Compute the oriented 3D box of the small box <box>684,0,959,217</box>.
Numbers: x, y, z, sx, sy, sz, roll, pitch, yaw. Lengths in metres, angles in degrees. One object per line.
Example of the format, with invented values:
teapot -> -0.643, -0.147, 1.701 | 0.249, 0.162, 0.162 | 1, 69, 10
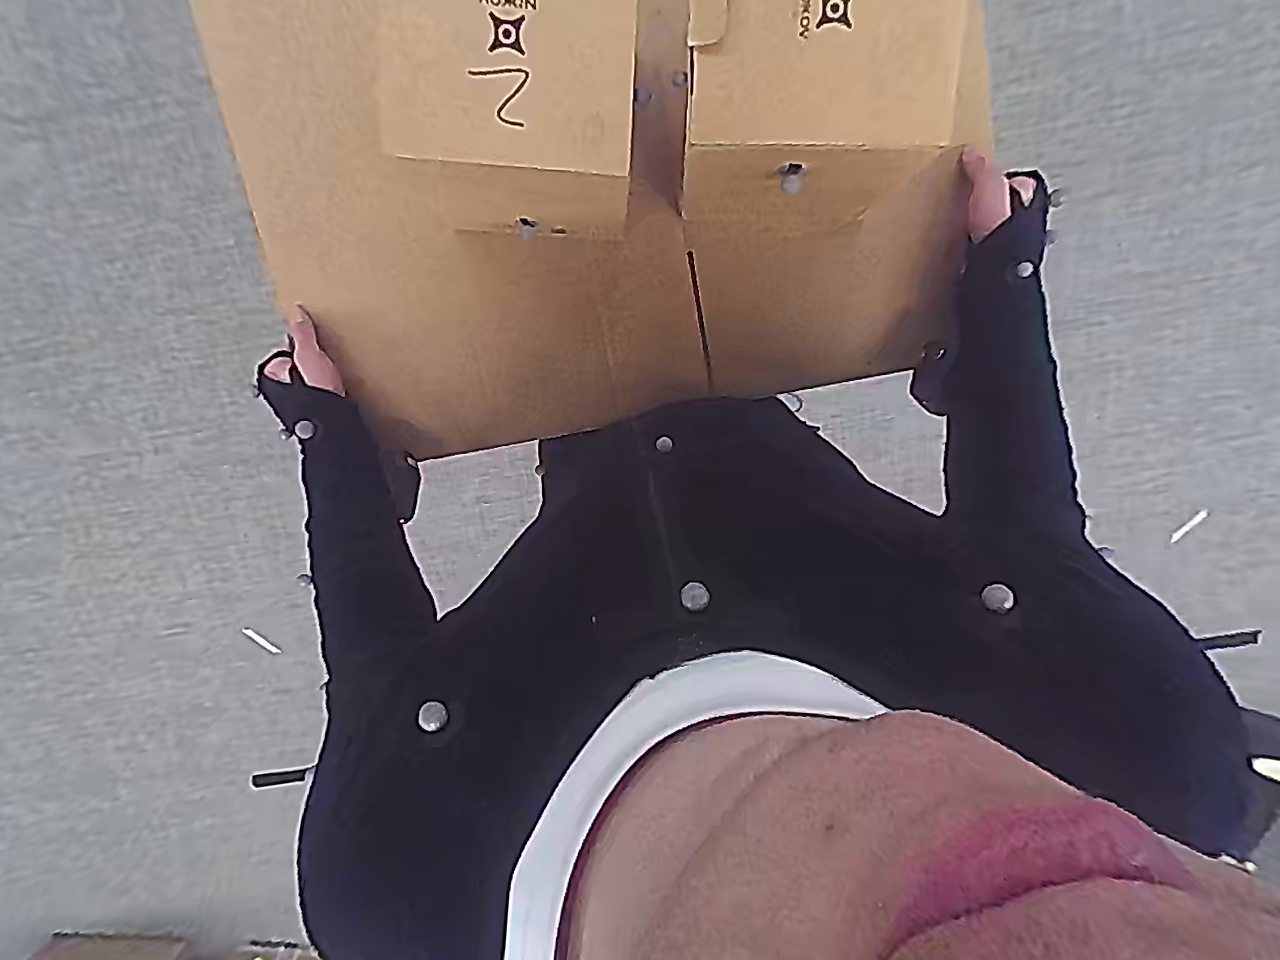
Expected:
small box -> 0.128, -0.325, 0.439 | 0.179, 0.176, 0.168 | 2, 101, 4
